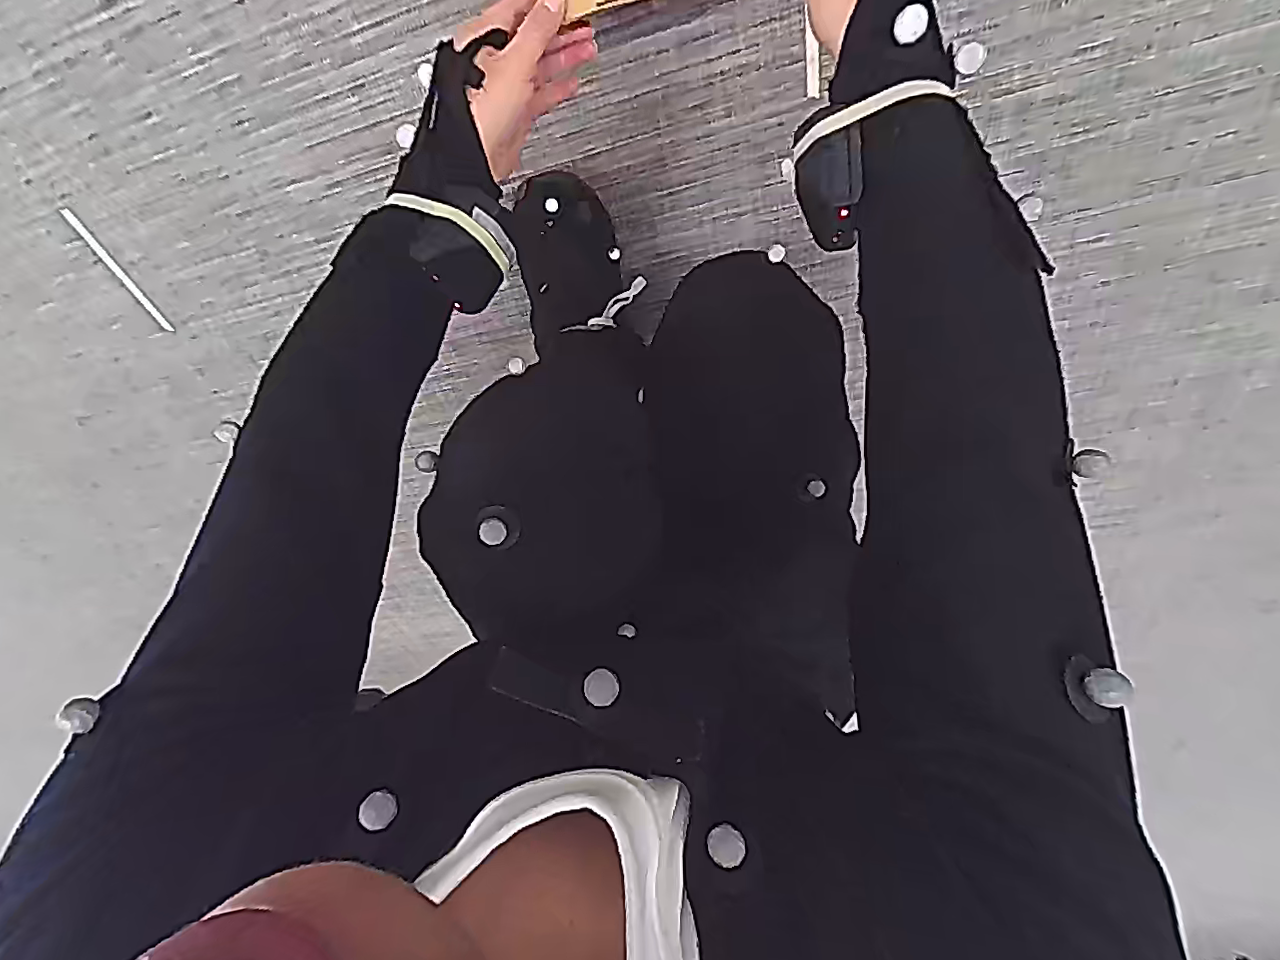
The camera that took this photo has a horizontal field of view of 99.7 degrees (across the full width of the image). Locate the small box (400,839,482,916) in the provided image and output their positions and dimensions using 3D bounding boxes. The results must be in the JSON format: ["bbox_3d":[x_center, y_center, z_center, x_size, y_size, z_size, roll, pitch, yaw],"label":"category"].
[{"bbox_3d":[-0.642,1.298,1.766,0.179,0.176,0.168,-11,130,10],"label":"small box"}]

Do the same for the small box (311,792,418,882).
[{"bbox_3d":[-0.750,0.987,1.496,0.179,0.176,0.168,-13,131,10],"label":"small box"}]
